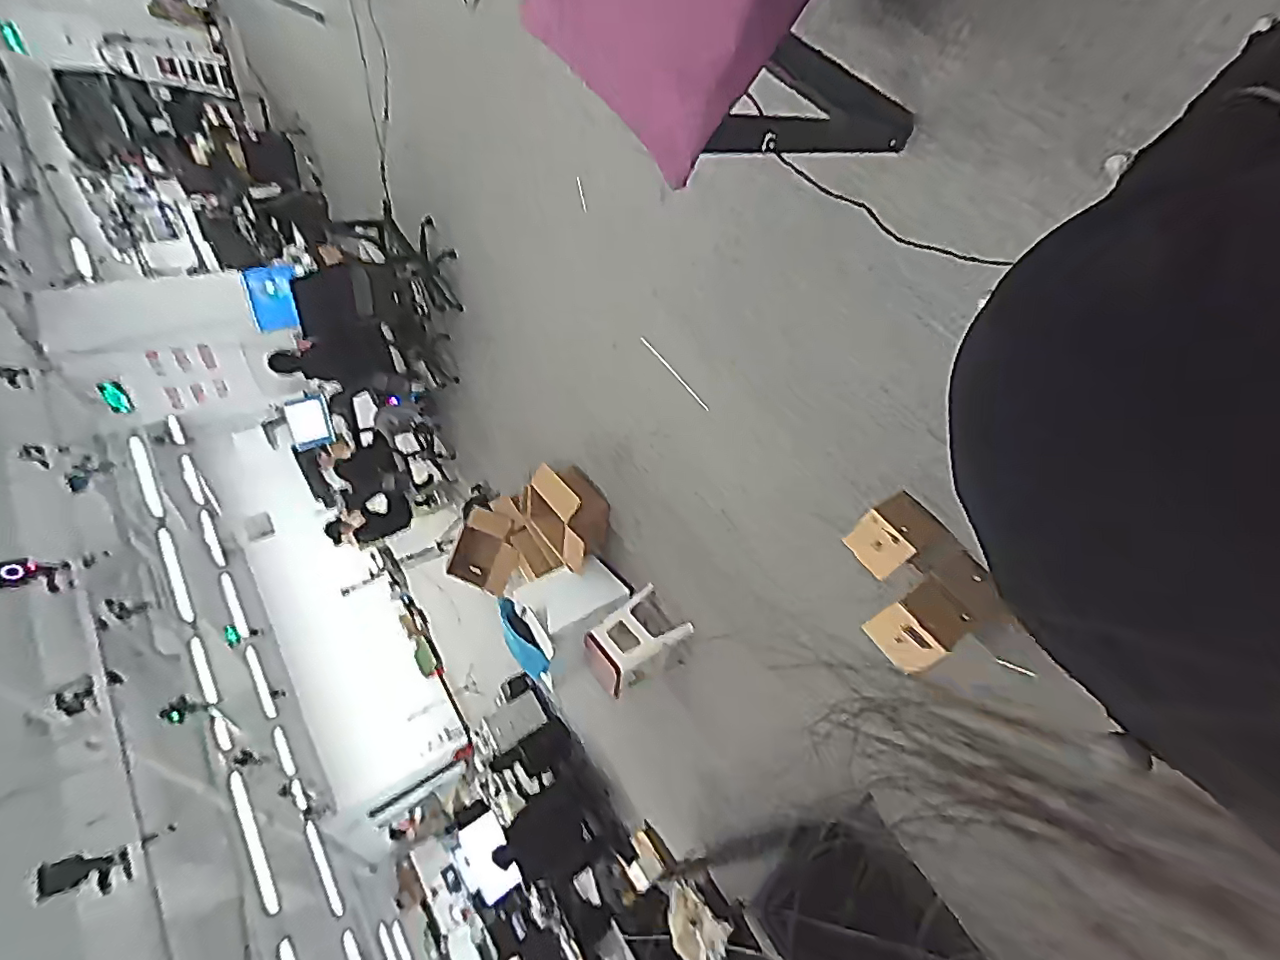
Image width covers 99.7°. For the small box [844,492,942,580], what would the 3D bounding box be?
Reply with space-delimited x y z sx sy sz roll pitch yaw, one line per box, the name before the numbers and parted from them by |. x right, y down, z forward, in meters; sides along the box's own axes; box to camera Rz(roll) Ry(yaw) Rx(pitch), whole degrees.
small box | 0.766 0.168 1.632 0.168 0.176 0.179 51 145 24
